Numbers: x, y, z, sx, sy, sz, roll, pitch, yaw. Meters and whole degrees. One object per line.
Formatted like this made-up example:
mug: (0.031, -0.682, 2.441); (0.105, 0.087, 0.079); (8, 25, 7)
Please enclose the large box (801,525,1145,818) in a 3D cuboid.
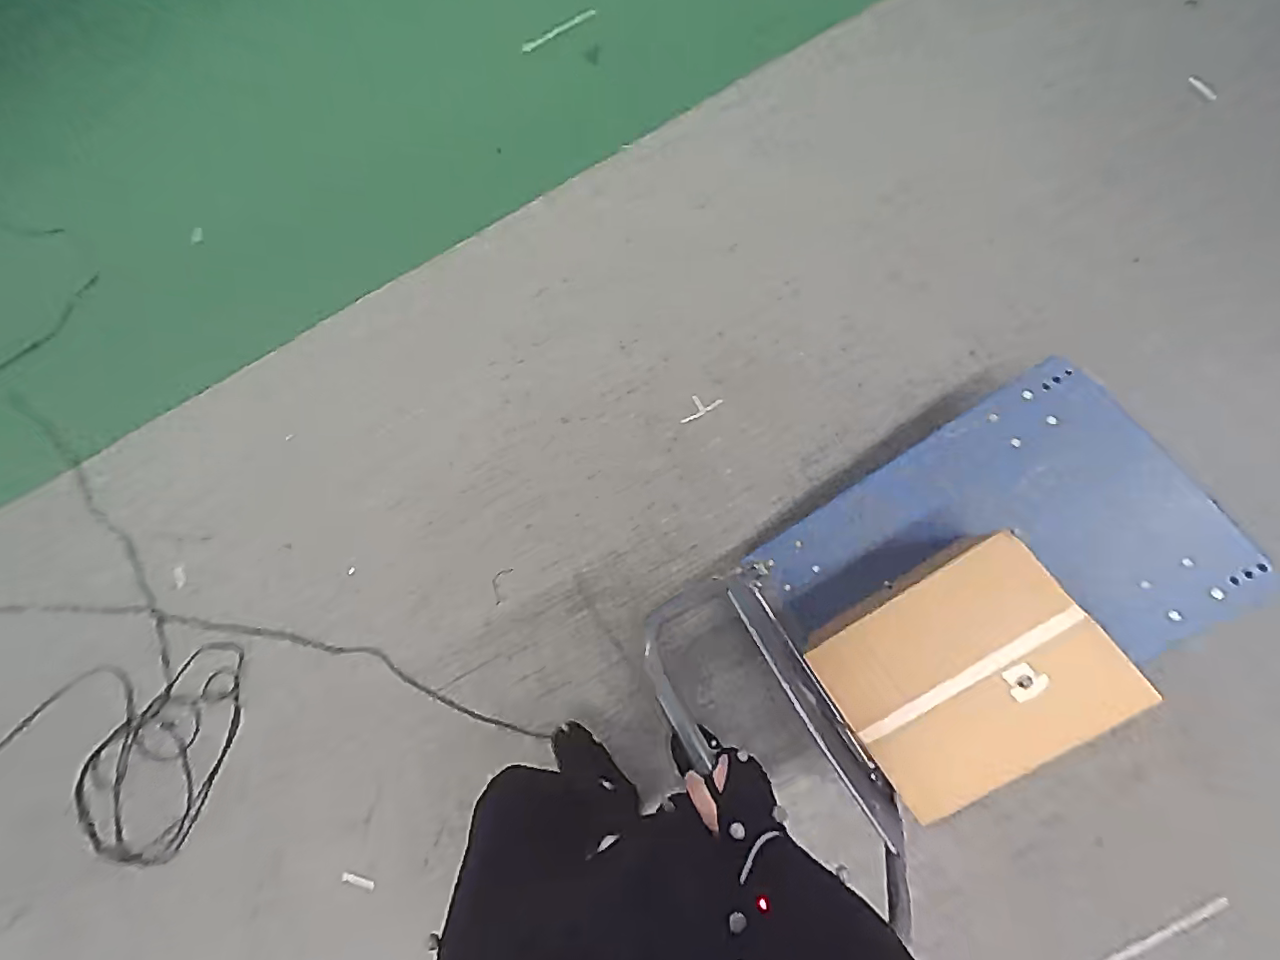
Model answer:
large box: (0.566, 0.334, 1.020); (0.408, 0.320, 0.320); (-37, 73, 11)
